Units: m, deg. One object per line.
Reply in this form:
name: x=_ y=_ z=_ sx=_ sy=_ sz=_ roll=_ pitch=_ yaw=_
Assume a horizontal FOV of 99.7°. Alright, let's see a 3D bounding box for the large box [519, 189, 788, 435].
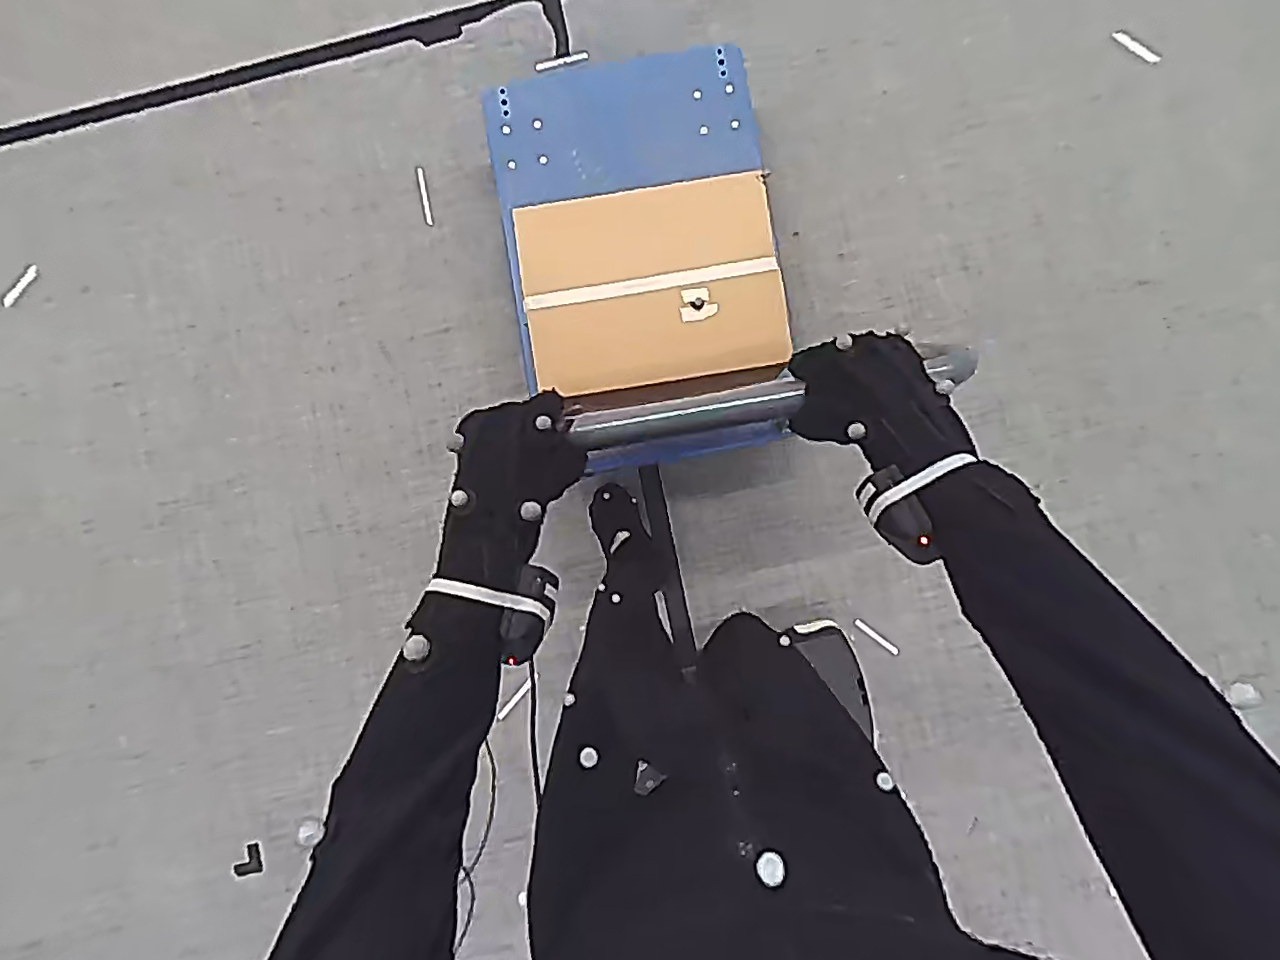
large box: x=0.019 y=-0.286 z=1.023 sx=0.408 sy=0.320 sz=0.320 roll=-9 pitch=88 yaw=0
